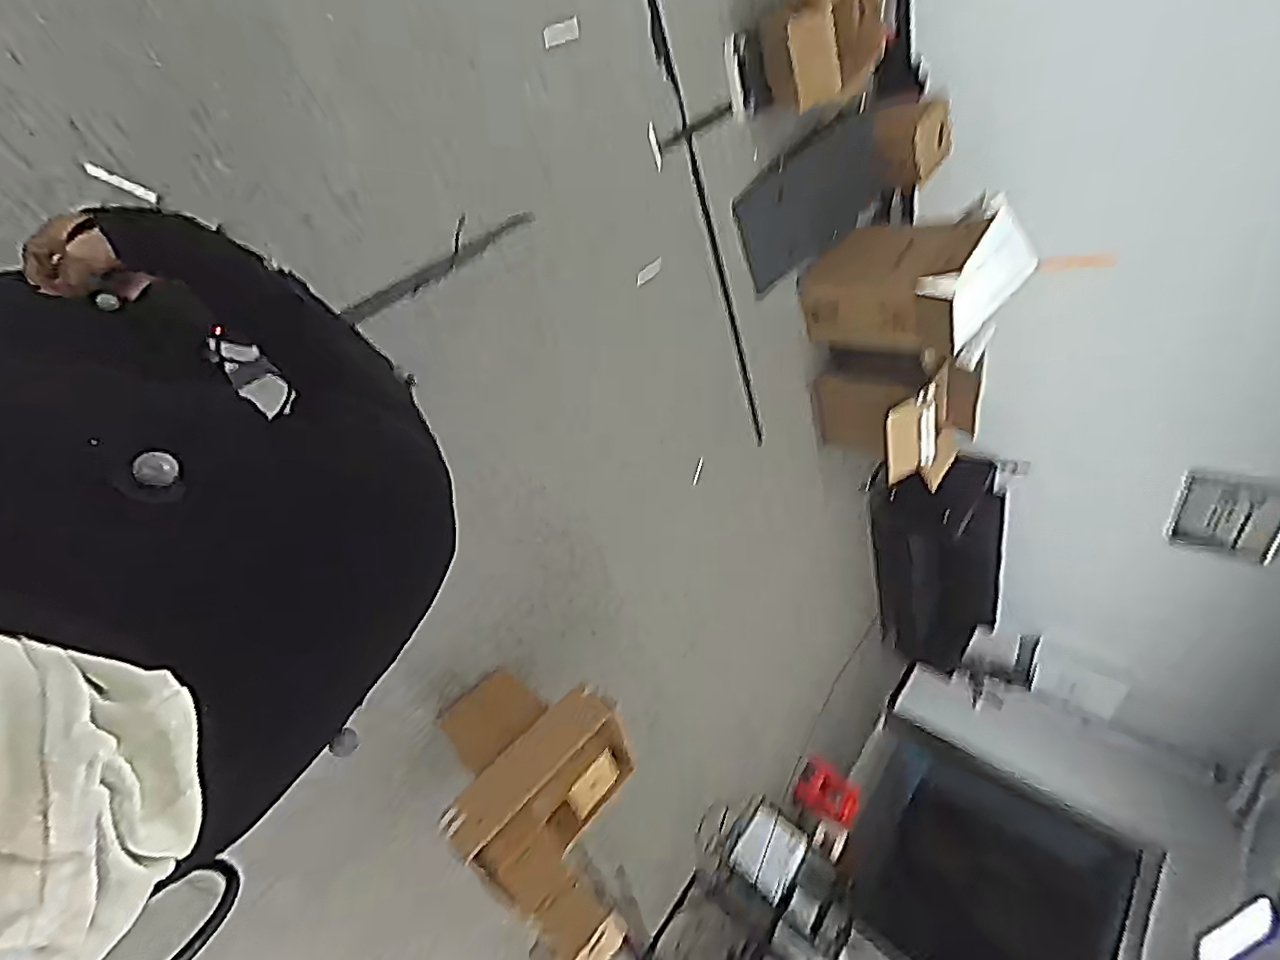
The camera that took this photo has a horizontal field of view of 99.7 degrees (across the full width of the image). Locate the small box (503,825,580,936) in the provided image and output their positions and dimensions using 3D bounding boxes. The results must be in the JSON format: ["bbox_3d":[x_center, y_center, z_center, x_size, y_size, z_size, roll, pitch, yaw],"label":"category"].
[{"bbox_3d":[-0.286,1.194,1.618,0.179,0.176,0.168,-38,130,-29],"label":"small box"}]

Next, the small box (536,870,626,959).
[{"bbox_3d":[-0.168,1.249,1.517,0.168,0.176,0.179,-35,129,-32],"label":"small box"}]

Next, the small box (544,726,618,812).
[{"bbox_3d":[-0.206,0.991,1.873,0.168,0.176,0.179,-38,130,-30],"label":"small box"}]
